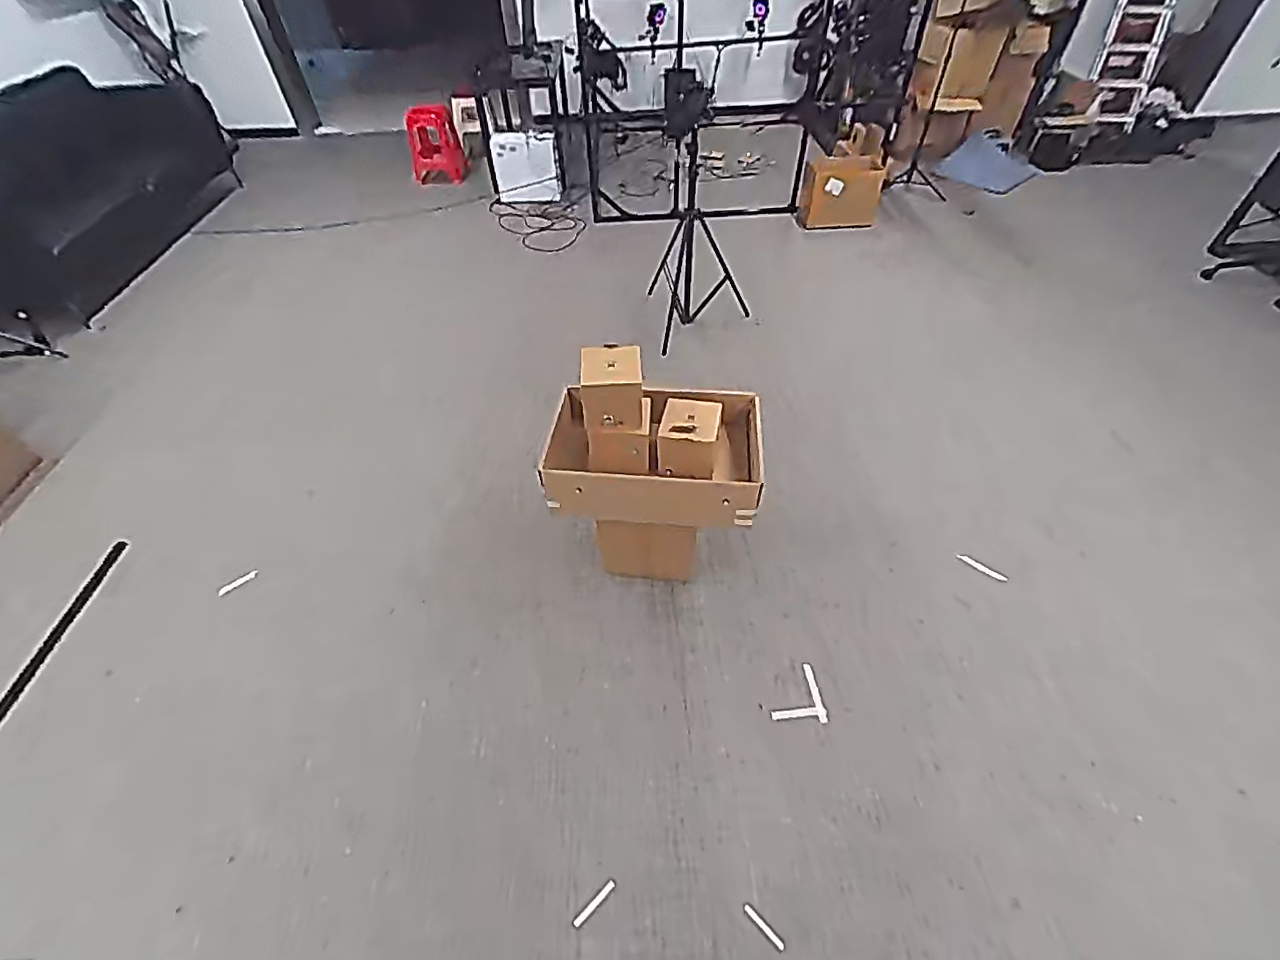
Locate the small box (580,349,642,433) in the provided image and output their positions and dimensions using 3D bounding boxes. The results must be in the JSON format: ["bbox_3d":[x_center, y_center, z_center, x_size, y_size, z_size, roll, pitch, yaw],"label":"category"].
[{"bbox_3d":[-0.079,-0.252,1.533,0.168,0.176,0.179,-3,47,-1],"label":"small box"}]
